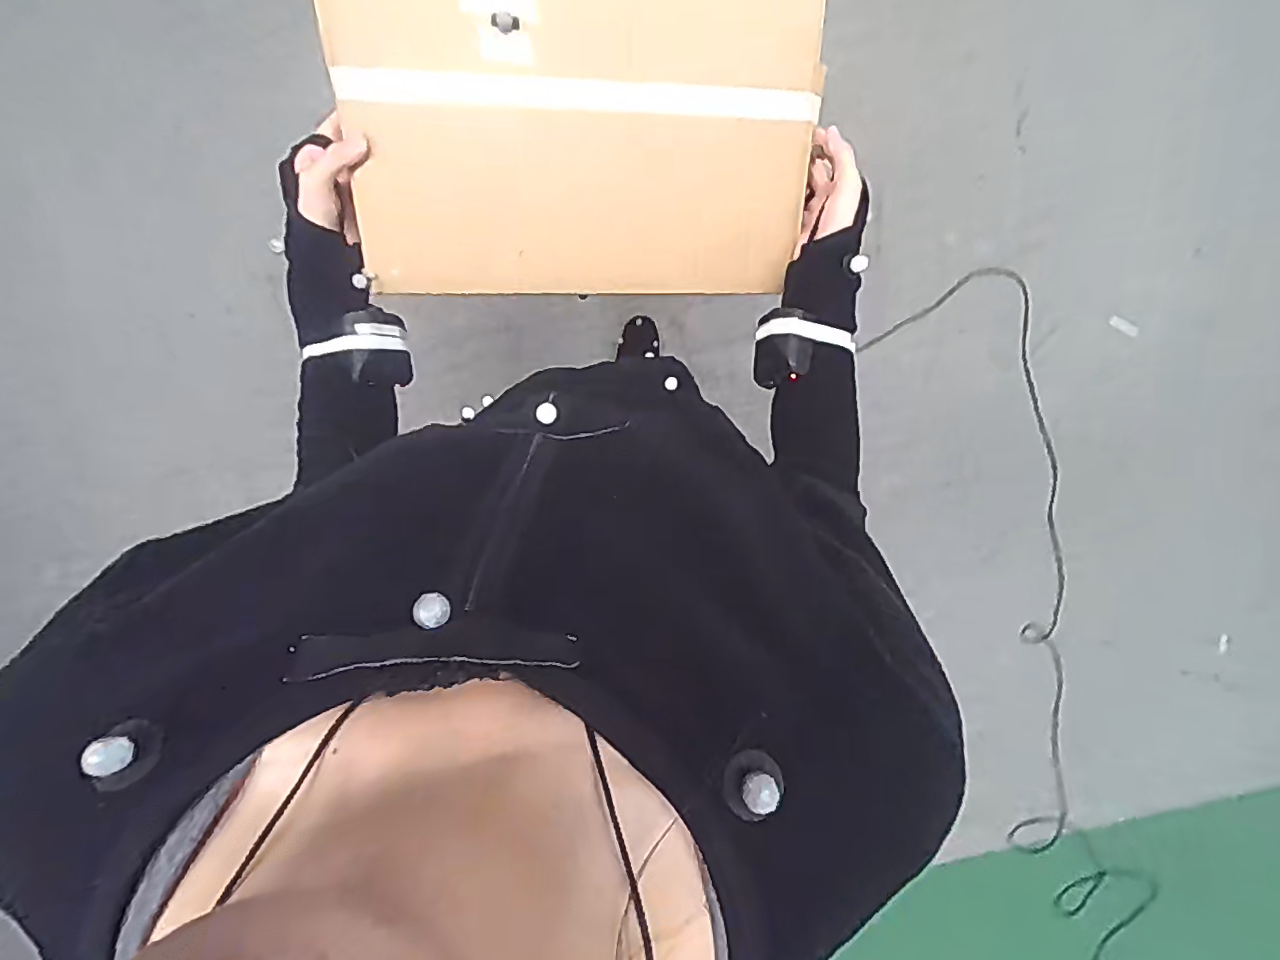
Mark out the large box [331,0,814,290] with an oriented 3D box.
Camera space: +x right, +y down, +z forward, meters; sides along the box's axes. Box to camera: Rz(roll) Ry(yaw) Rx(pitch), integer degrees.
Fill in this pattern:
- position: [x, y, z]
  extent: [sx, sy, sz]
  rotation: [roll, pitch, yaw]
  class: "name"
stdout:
- position: [-0.067, -0.393, 0.605]
  extent: [0.408, 0.320, 0.320]
  rotation: [-3, 114, -8]
  class: "large box"
